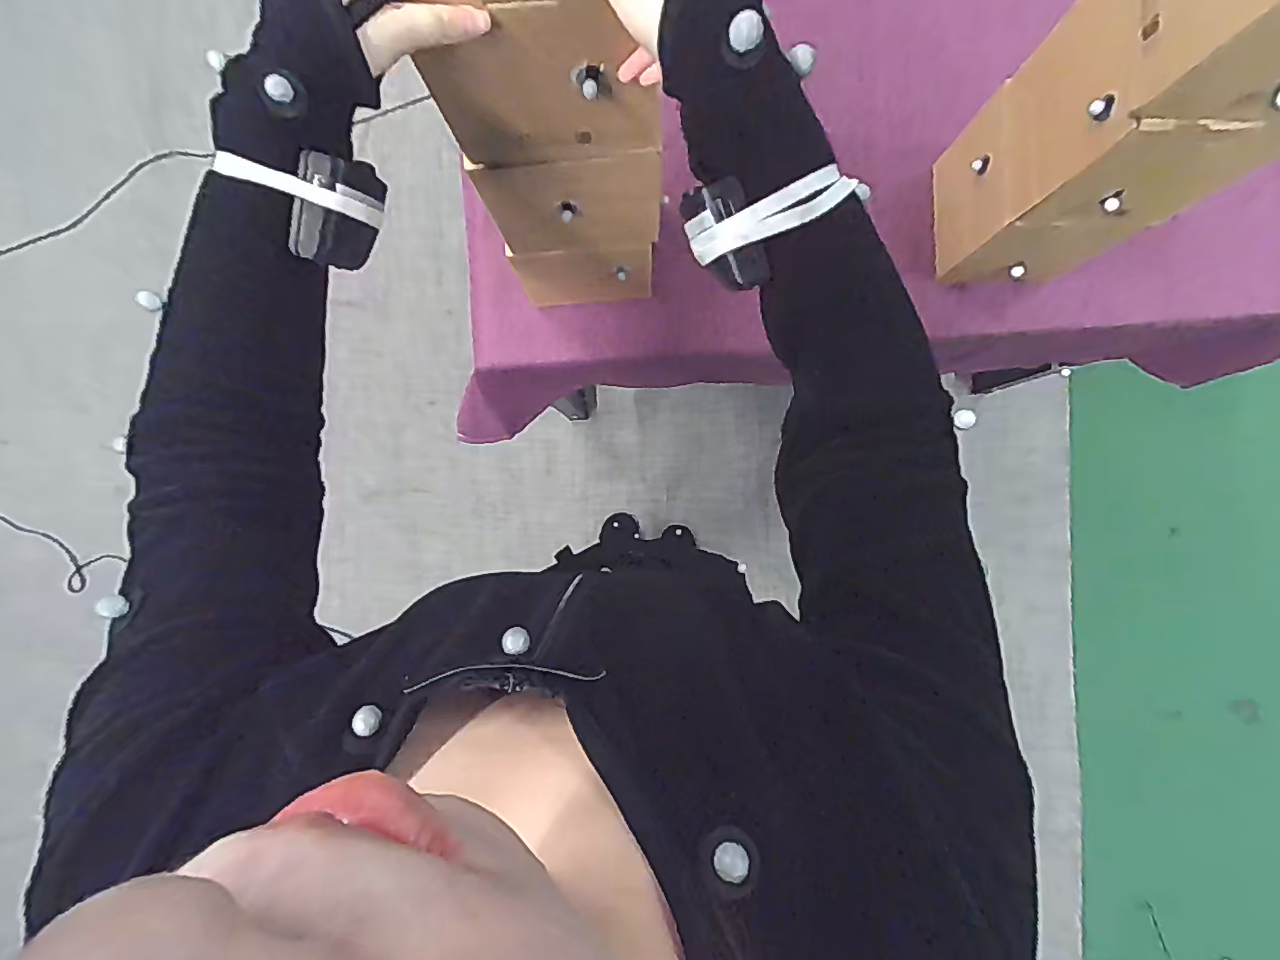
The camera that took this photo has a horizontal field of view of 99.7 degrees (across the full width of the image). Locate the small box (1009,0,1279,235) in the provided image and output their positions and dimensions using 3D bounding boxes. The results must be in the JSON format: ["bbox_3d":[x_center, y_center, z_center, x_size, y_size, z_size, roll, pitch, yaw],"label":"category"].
[{"bbox_3d":[0.505,-0.372,0.544,0.168,0.176,0.179,0,89,1],"label":"small box"}]

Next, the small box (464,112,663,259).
[{"bbox_3d":[-0.071,-0.347,0.557,0.179,0.176,0.168,-5,88,2],"label":"small box"}]

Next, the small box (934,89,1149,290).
[{"bbox_3d":[0.507,-0.367,0.707,0.168,0.176,0.179,0,89,2],"label":"small box"}]

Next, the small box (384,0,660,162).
[{"bbox_3d":[-0.069,-0.360,0.394,0.168,0.176,0.179,-2,88,1],"label":"small box"}]
